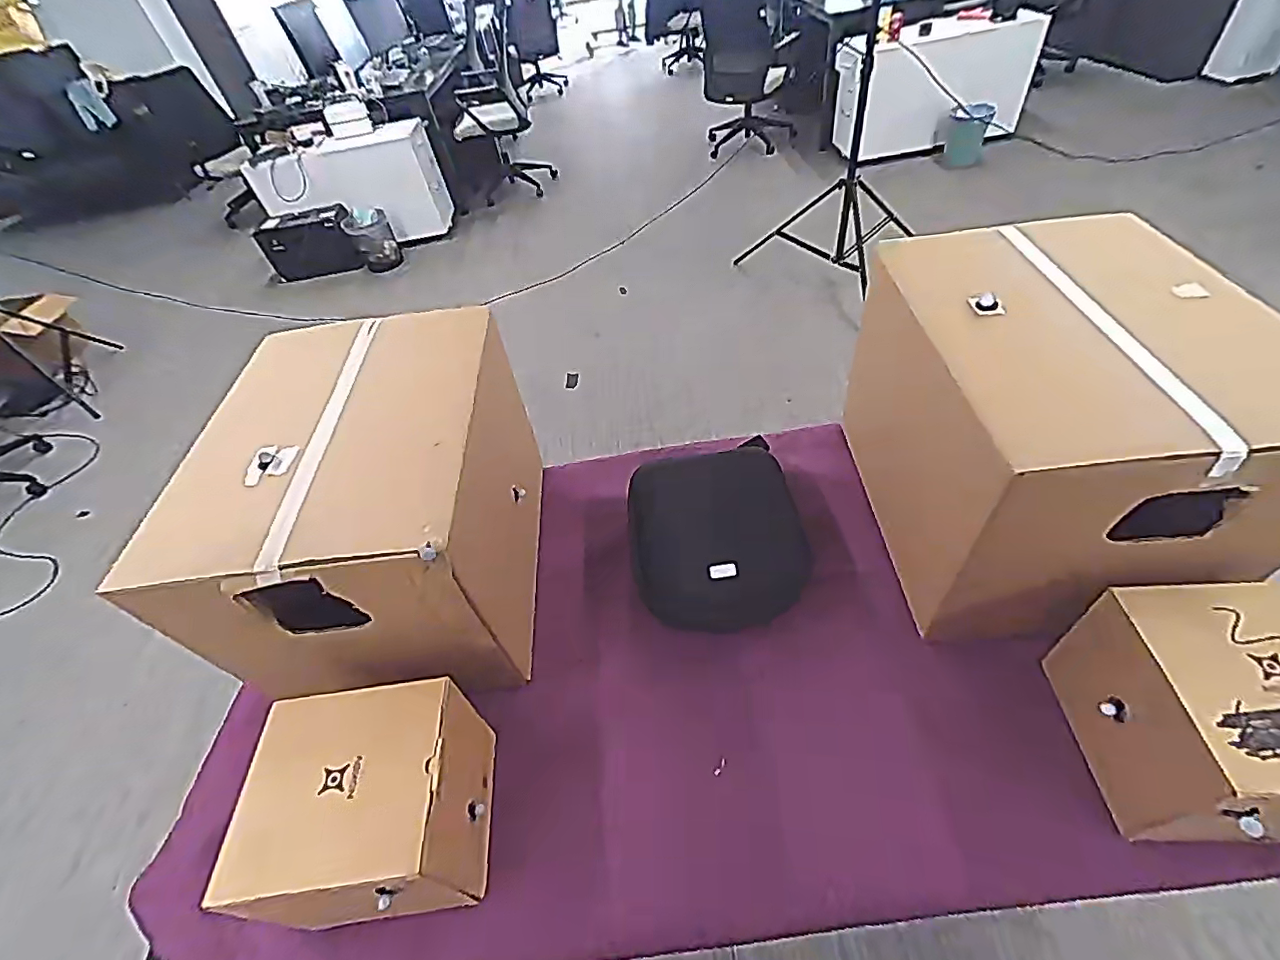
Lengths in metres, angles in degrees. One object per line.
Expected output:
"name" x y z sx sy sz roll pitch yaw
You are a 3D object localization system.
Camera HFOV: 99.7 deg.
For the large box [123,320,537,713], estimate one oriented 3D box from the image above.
"large box" -0.324 0.044 0.725 0.320 0.320 0.408 -8 50 1
